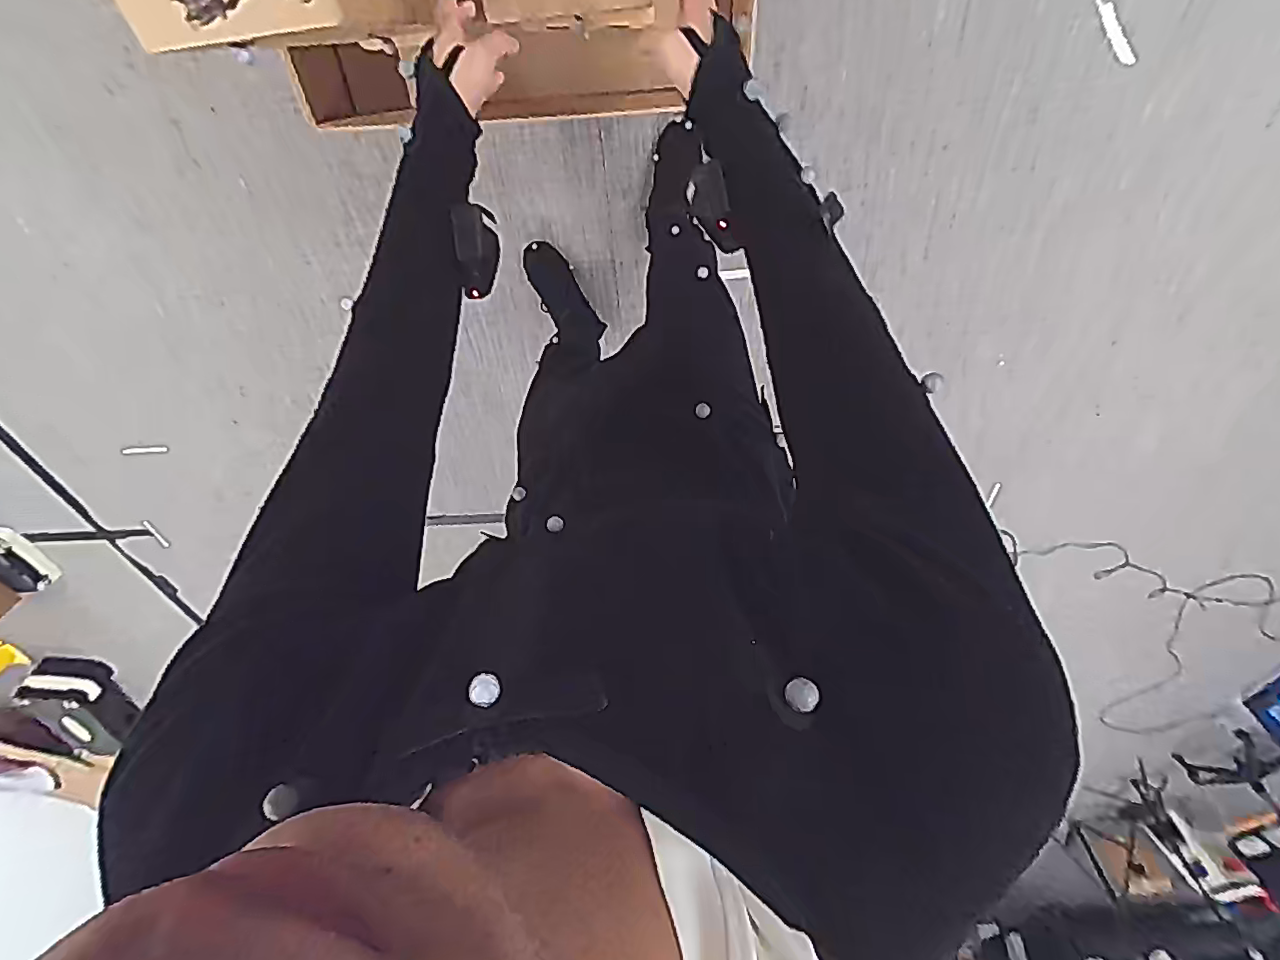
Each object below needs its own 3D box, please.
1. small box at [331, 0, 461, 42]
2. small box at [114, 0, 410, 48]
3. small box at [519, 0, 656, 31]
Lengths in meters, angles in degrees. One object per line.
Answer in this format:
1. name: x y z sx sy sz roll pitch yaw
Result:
1. small box: -0.301 -0.561 0.545 0.168 0.176 0.179 -4 131 4
2. small box: -0.309 -0.454 0.419 0.168 0.176 0.179 -4 129 5
3. small box: -0.063 -0.670 0.665 0.168 0.176 0.179 0 131 2
